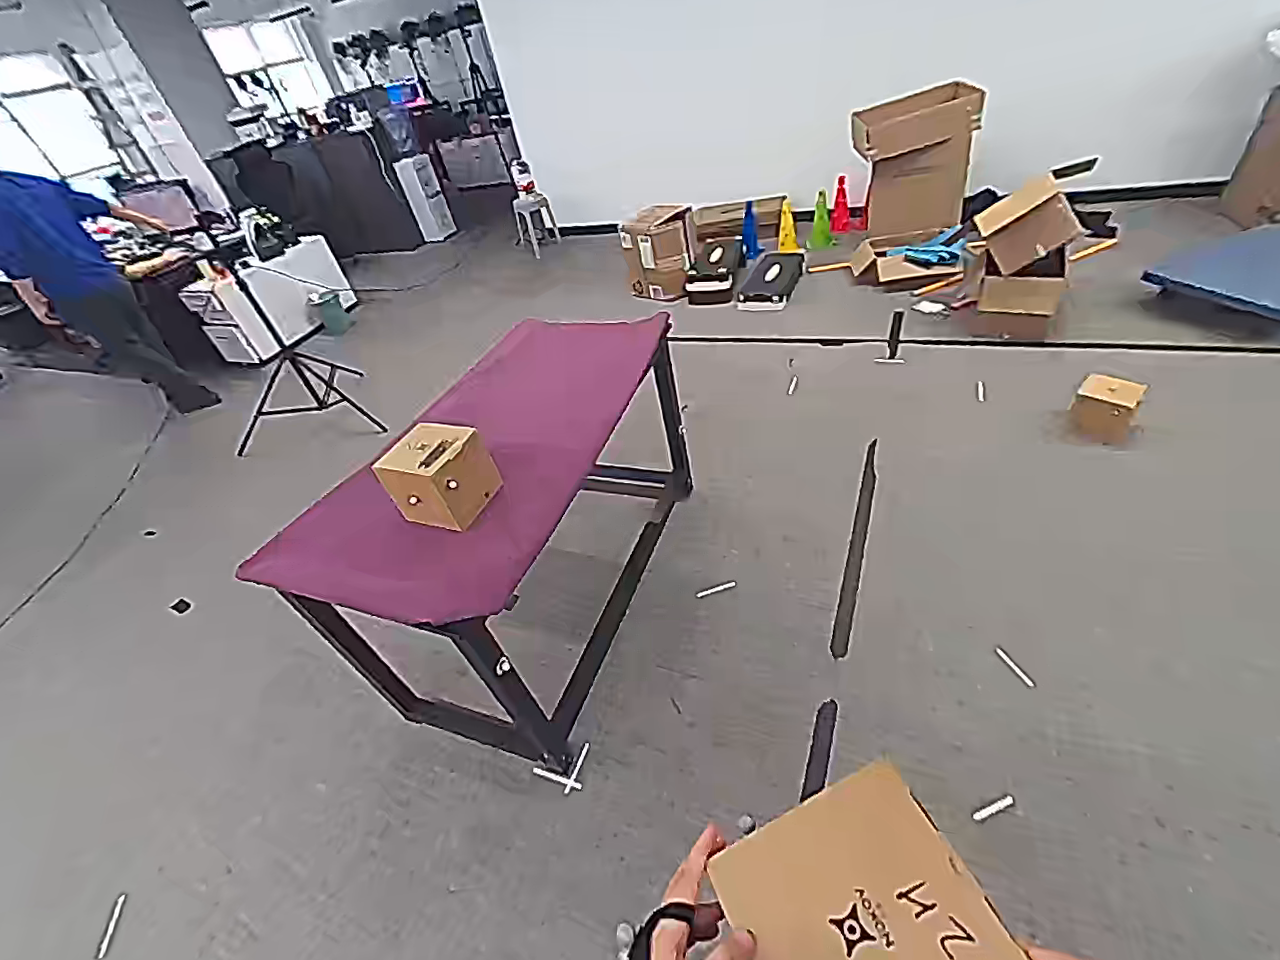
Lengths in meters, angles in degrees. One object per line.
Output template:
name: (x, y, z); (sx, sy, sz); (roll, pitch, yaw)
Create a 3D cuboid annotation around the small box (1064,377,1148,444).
small box: (1.755, -0.262, 2.046); (0.168, 0.176, 0.179); (-37, 46, -25)
